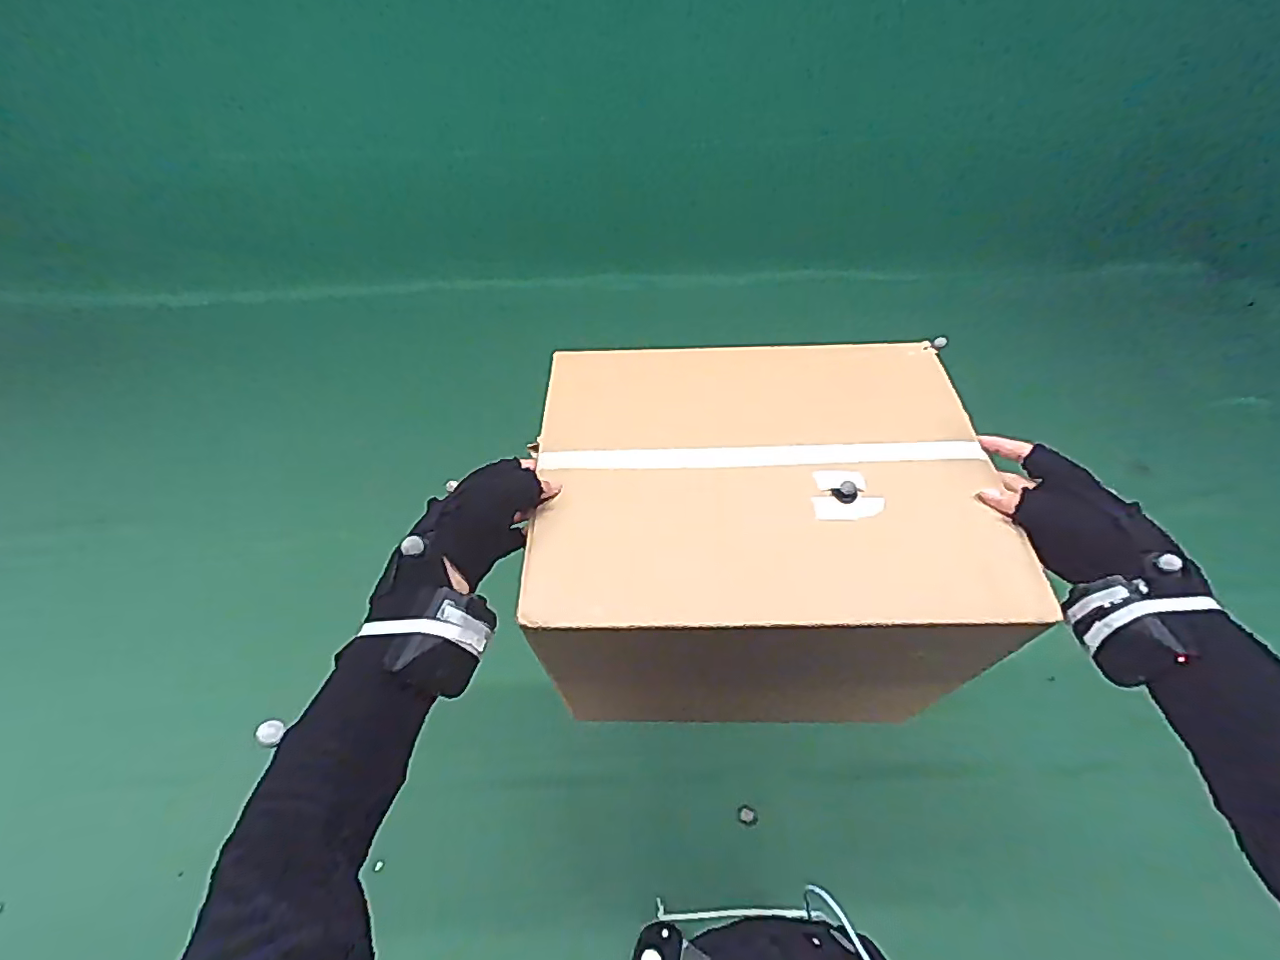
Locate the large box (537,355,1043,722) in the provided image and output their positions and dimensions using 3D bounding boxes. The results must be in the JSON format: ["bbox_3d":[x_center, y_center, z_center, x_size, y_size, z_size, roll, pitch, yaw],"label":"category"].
[{"bbox_3d":[0.117,0.077,0.626,0.408,0.320,0.320,-1,53,1],"label":"large box"}]
